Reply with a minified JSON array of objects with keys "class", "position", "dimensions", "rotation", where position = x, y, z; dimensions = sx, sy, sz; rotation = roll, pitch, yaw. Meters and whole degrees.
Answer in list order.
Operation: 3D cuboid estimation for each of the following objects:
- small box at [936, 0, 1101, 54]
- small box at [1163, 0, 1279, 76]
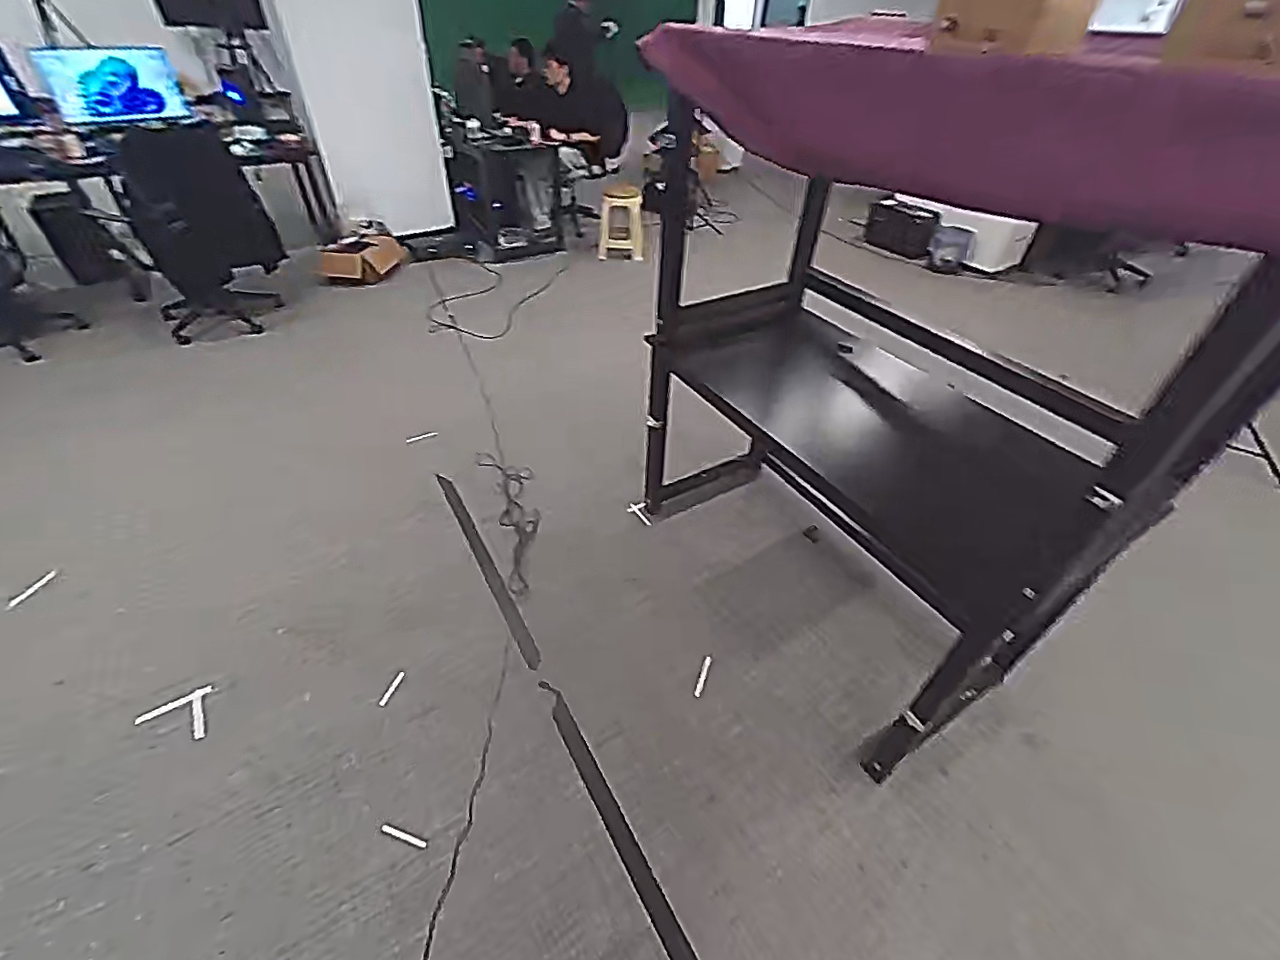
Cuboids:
[{"class":"small box","position":[0.569,-0.733,0.790],"dimensions":[0.179,0.176,0.168],"rotation":[-24,48,-28]},{"class":"small box","position":[0.727,-0.538,0.572],"dimensions":[0.179,0.176,0.168],"rotation":[-17,44,-22]}]
